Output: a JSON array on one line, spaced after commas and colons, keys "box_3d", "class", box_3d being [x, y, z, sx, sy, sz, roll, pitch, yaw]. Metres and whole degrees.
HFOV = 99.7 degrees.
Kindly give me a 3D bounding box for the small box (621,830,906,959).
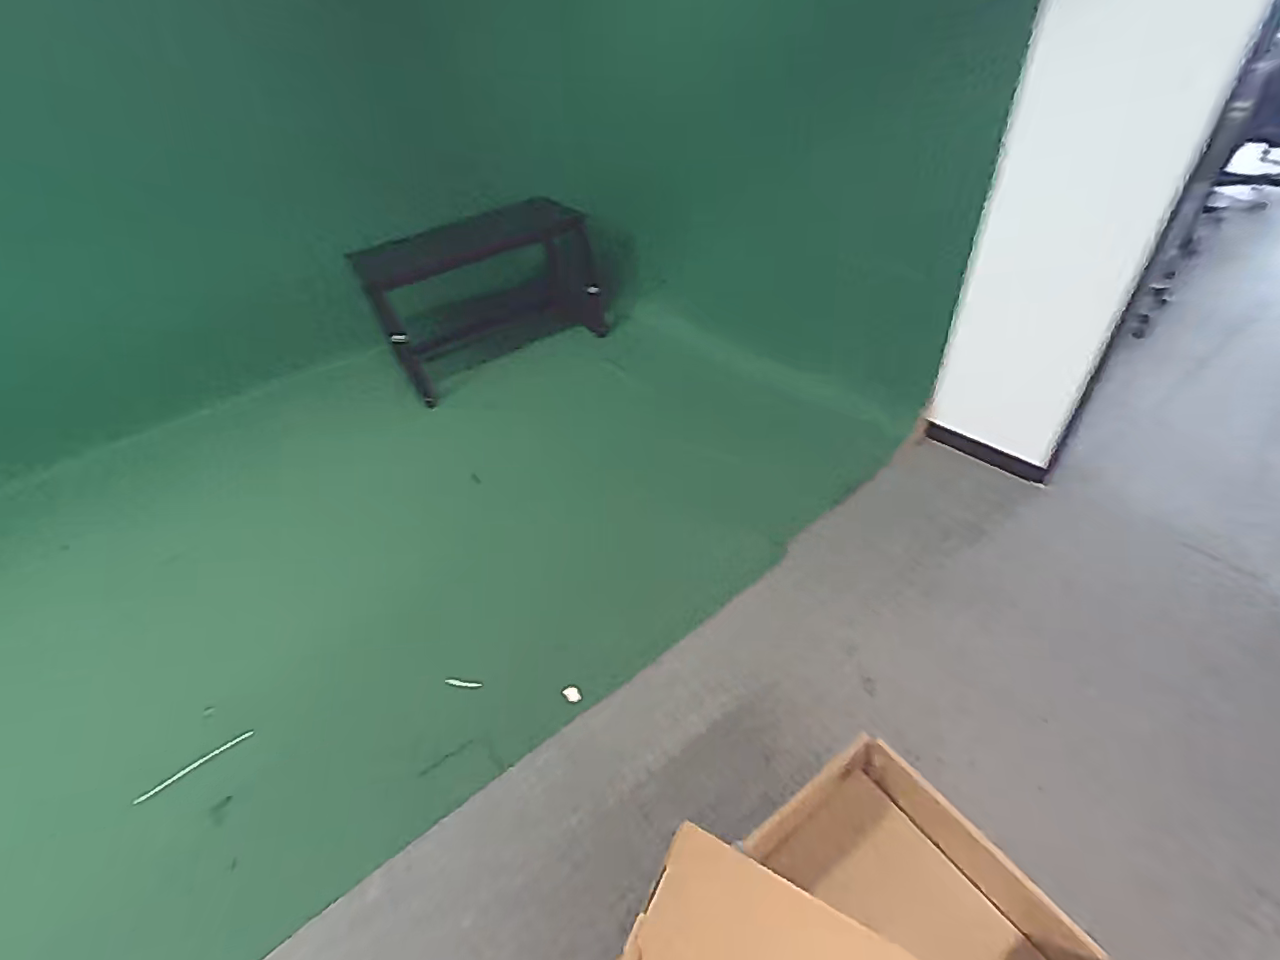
[{"box_3d": [0.067, 0.375, 0.347, 0.179, 0.176, 0.168, 18, 45, 22], "class": "small box"}]
